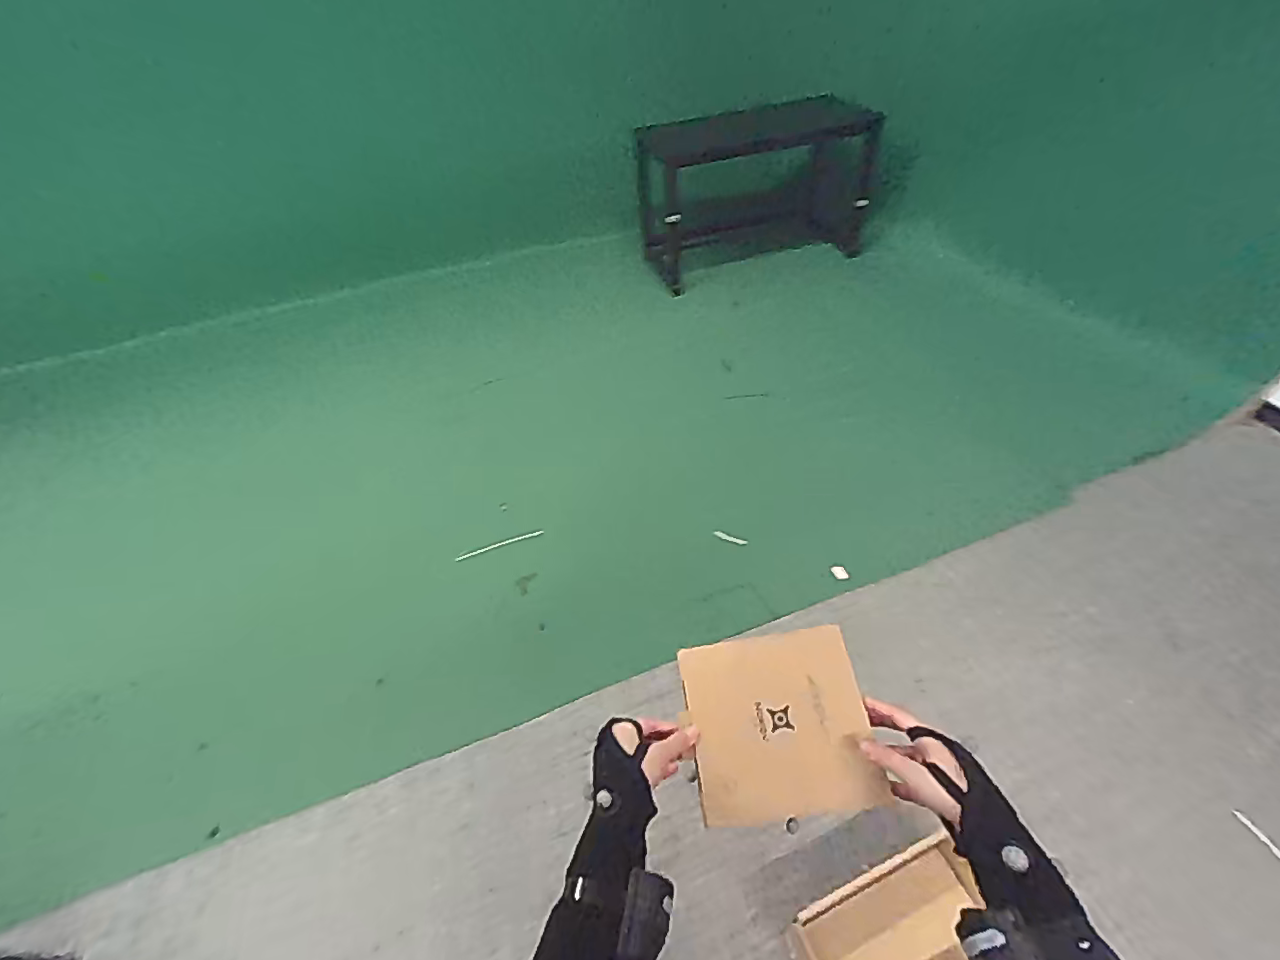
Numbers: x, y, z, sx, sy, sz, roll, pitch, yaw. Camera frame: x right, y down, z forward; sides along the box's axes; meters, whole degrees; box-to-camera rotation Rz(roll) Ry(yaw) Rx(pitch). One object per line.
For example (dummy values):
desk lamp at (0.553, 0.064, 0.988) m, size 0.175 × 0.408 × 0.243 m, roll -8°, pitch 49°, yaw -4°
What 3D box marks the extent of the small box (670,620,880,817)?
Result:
small box at (0.139, 0.271, 0.606) m, size 0.179 × 0.176 × 0.168 m, roll -11°, pitch 60°, yaw 4°
